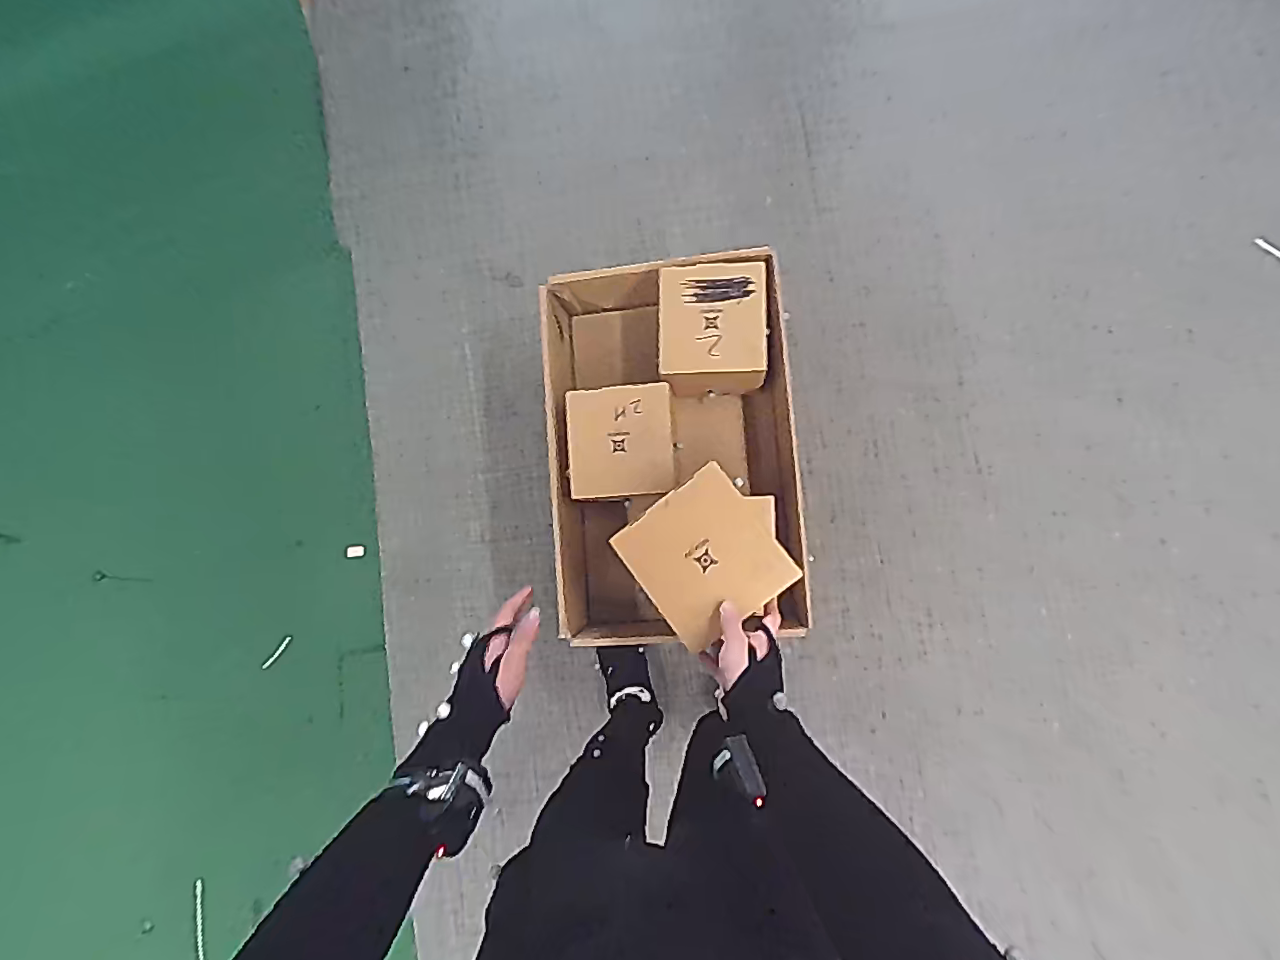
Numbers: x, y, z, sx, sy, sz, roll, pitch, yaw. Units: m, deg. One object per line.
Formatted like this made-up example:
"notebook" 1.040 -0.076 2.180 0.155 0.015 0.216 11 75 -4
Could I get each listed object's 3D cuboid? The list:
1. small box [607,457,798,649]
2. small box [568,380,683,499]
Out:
"small box" 0.086 0.091 0.724 0.168 0.176 0.179 -39 80 5
"small box" -0.018 -0.059 0.916 0.168 0.176 0.179 -4 86 8
